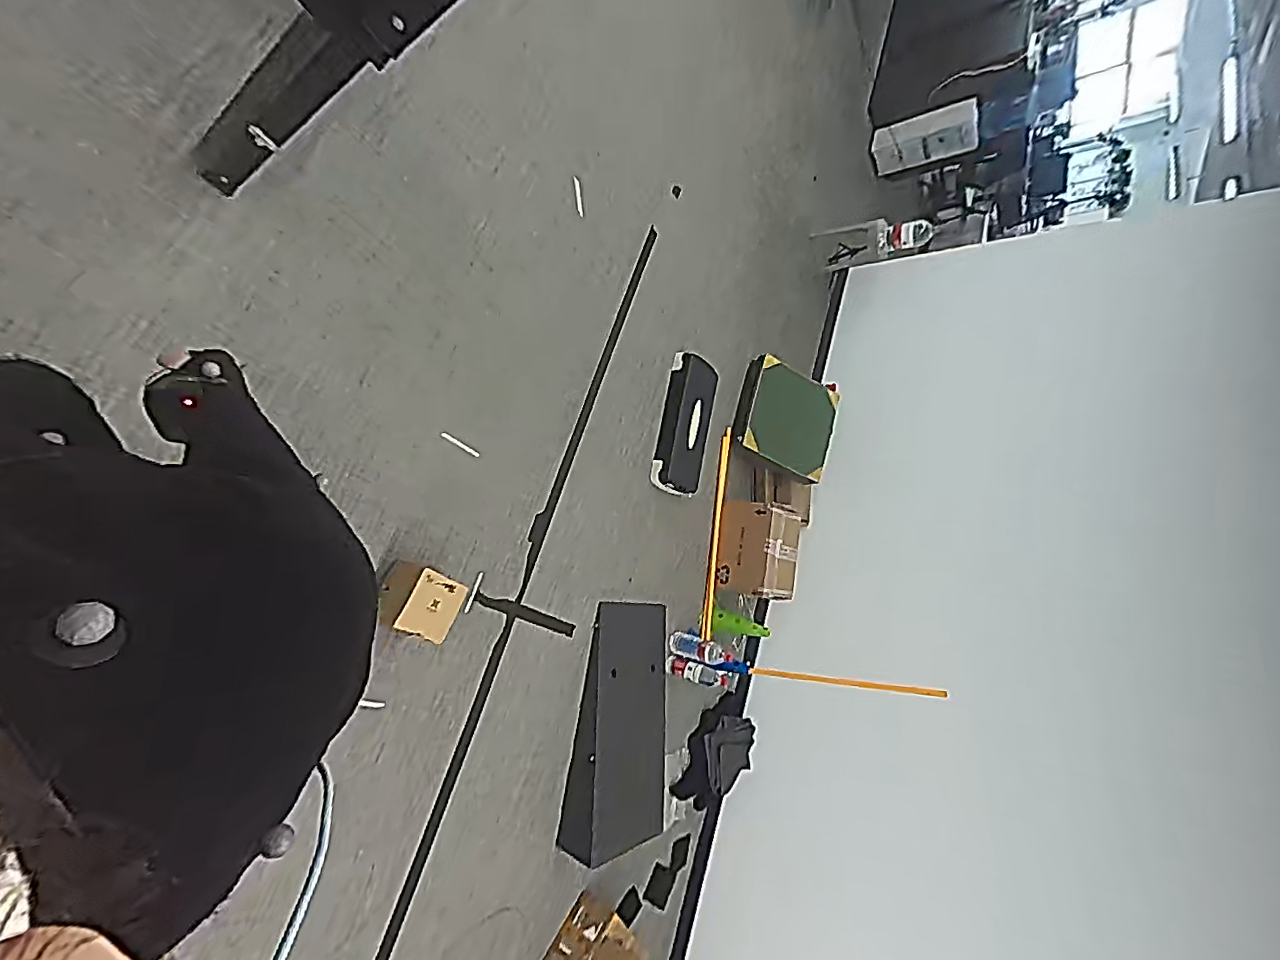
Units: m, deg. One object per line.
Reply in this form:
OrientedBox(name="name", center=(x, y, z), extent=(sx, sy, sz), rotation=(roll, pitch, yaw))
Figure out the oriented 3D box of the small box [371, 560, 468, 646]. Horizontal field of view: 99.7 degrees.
OrientedBox(name="small box", center=(-0.640, 0.351, 1.557), extent=(0.168, 0.176, 0.179), rotation=(45, 60, -44))
